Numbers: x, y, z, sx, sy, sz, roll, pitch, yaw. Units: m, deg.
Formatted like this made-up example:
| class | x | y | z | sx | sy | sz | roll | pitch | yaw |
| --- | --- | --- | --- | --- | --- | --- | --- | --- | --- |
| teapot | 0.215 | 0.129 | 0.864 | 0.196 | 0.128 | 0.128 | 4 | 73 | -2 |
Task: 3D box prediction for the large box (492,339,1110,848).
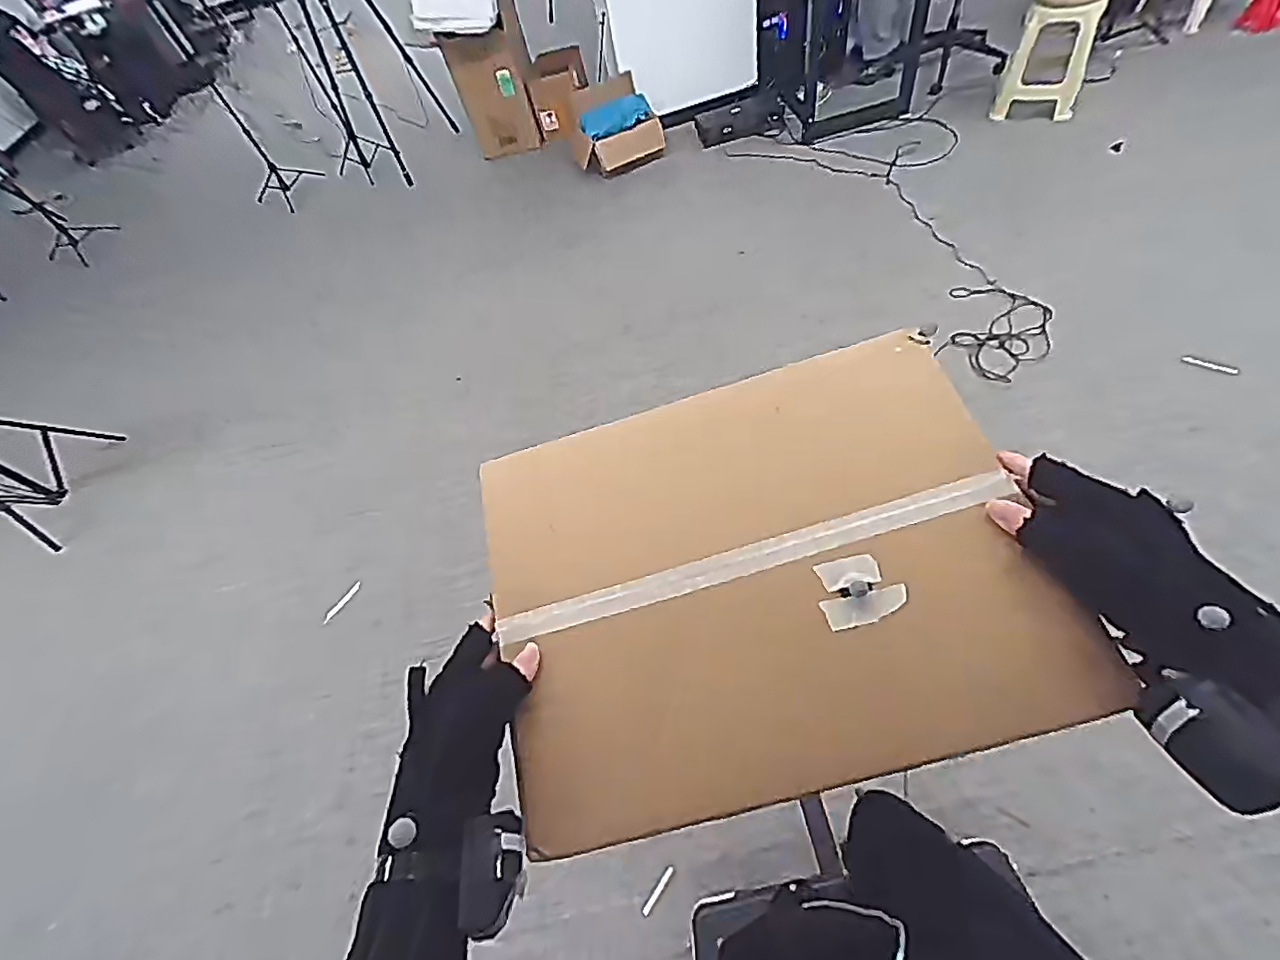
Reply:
| class | x | y | z | sx | sy | sz | roll | pitch | yaw |
| --- | --- | --- | --- | --- | --- | --- | --- | --- | --- |
| large box | 0.112 | 0.126 | 0.561 | 0.408 | 0.320 | 0.320 | -18 | 64 | 4 |
